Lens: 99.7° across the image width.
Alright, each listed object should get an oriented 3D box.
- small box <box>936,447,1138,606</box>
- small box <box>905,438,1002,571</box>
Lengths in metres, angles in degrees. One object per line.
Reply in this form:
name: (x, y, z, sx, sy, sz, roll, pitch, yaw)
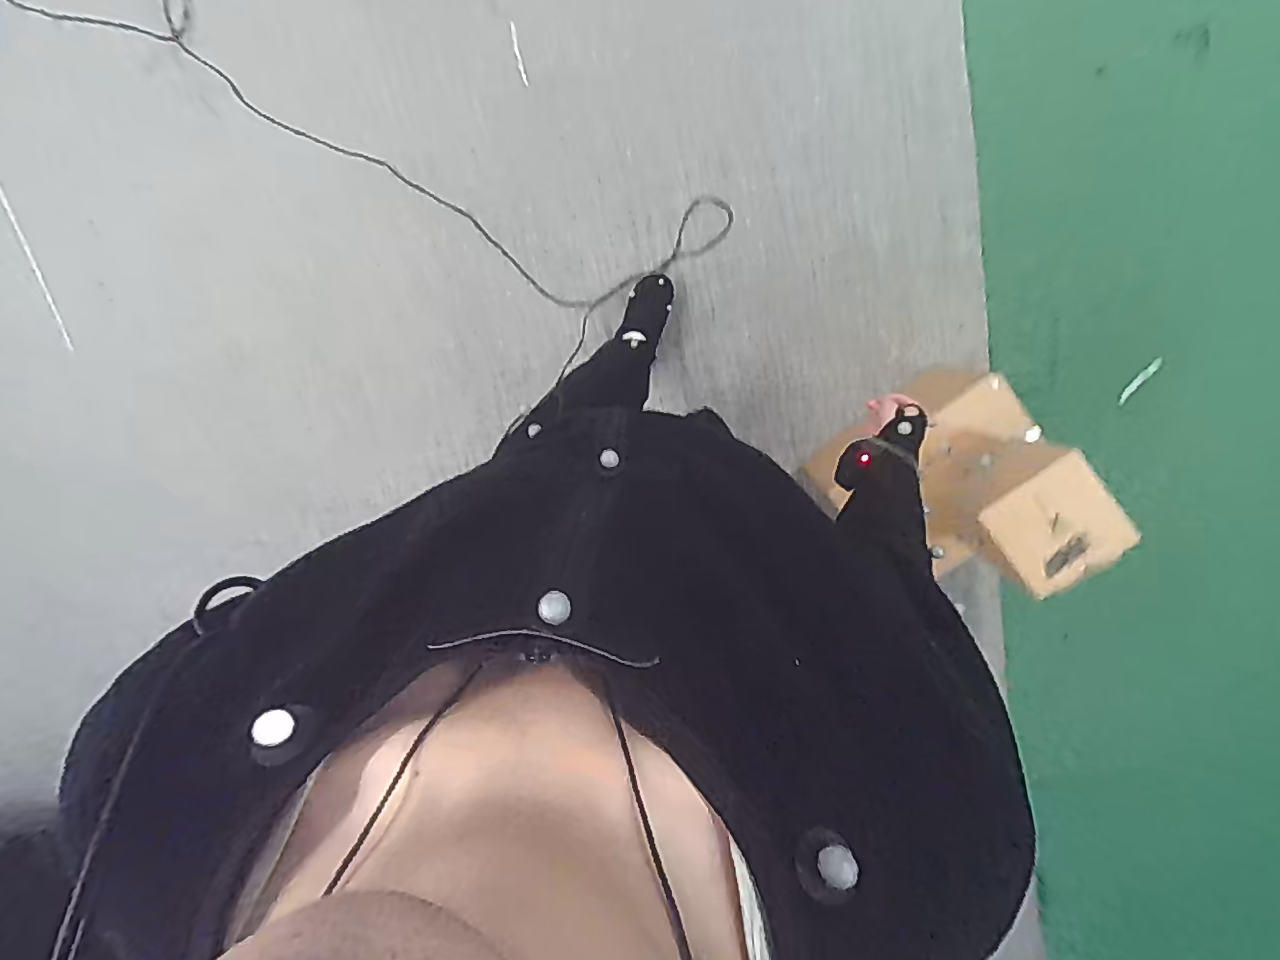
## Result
small box: (0.632, 0.065, 0.885, 0.168, 0.176, 0.179, -38, 95, 12)
small box: (0.657, 0.038, 1.046, 0.168, 0.176, 0.179, -43, 95, 13)
